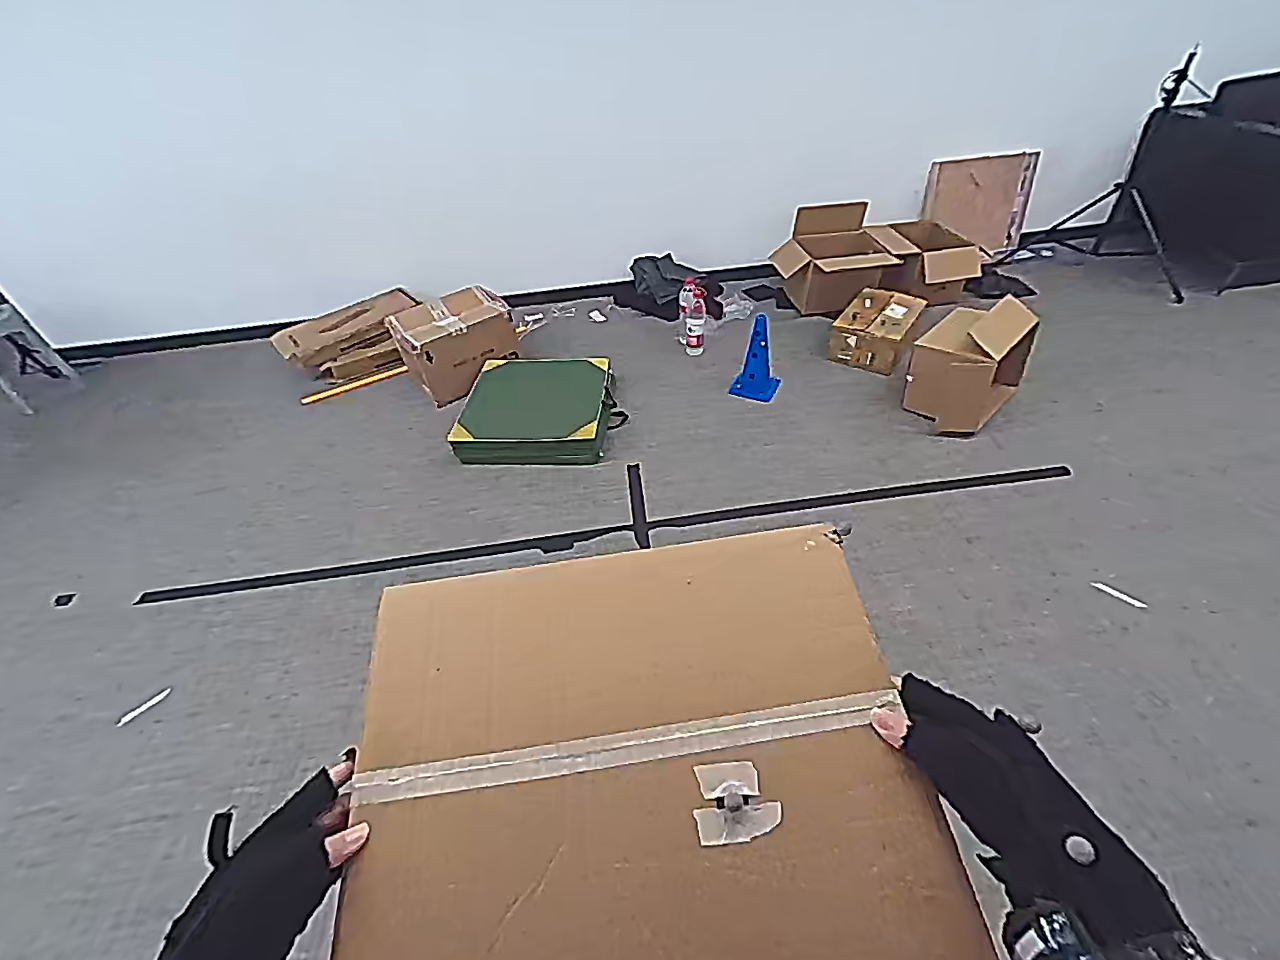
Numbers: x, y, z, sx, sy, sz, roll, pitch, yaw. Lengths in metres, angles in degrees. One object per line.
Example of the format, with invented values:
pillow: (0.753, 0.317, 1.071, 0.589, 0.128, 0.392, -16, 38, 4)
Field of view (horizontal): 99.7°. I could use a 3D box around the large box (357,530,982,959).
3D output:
large box: (0.005, 0.284, 0.534, 0.408, 0.320, 0.320, -8, 57, -2)
